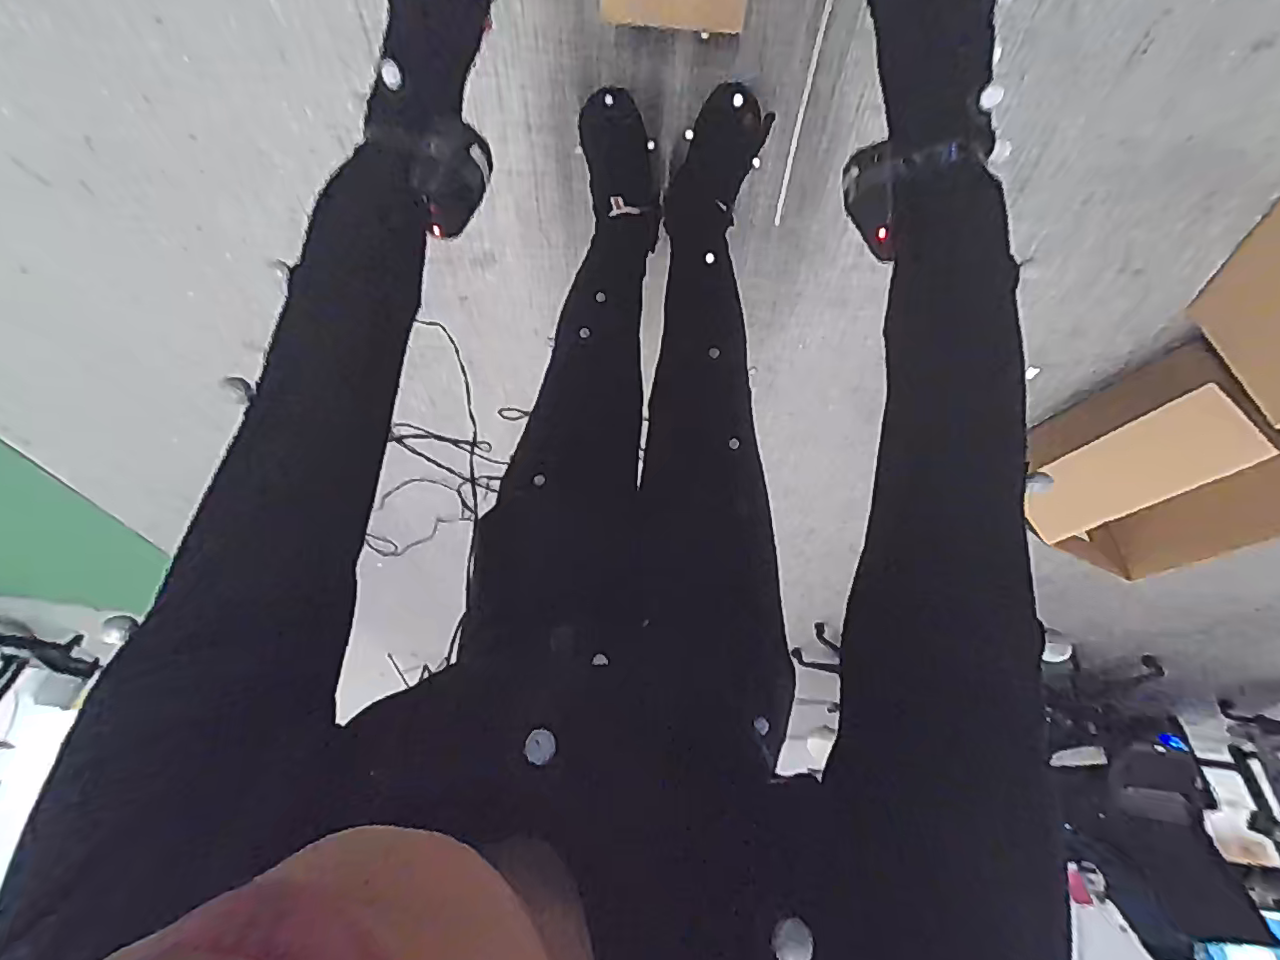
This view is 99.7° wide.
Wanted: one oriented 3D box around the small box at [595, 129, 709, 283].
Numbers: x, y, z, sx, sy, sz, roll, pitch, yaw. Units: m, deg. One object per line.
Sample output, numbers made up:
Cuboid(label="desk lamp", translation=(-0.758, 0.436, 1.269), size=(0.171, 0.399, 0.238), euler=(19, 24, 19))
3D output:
Cuboid(label="small box", translation=(0.011, -0.475, 0.949), size=(0.168, 0.176, 0.179), euler=(-1, 148, -10))
